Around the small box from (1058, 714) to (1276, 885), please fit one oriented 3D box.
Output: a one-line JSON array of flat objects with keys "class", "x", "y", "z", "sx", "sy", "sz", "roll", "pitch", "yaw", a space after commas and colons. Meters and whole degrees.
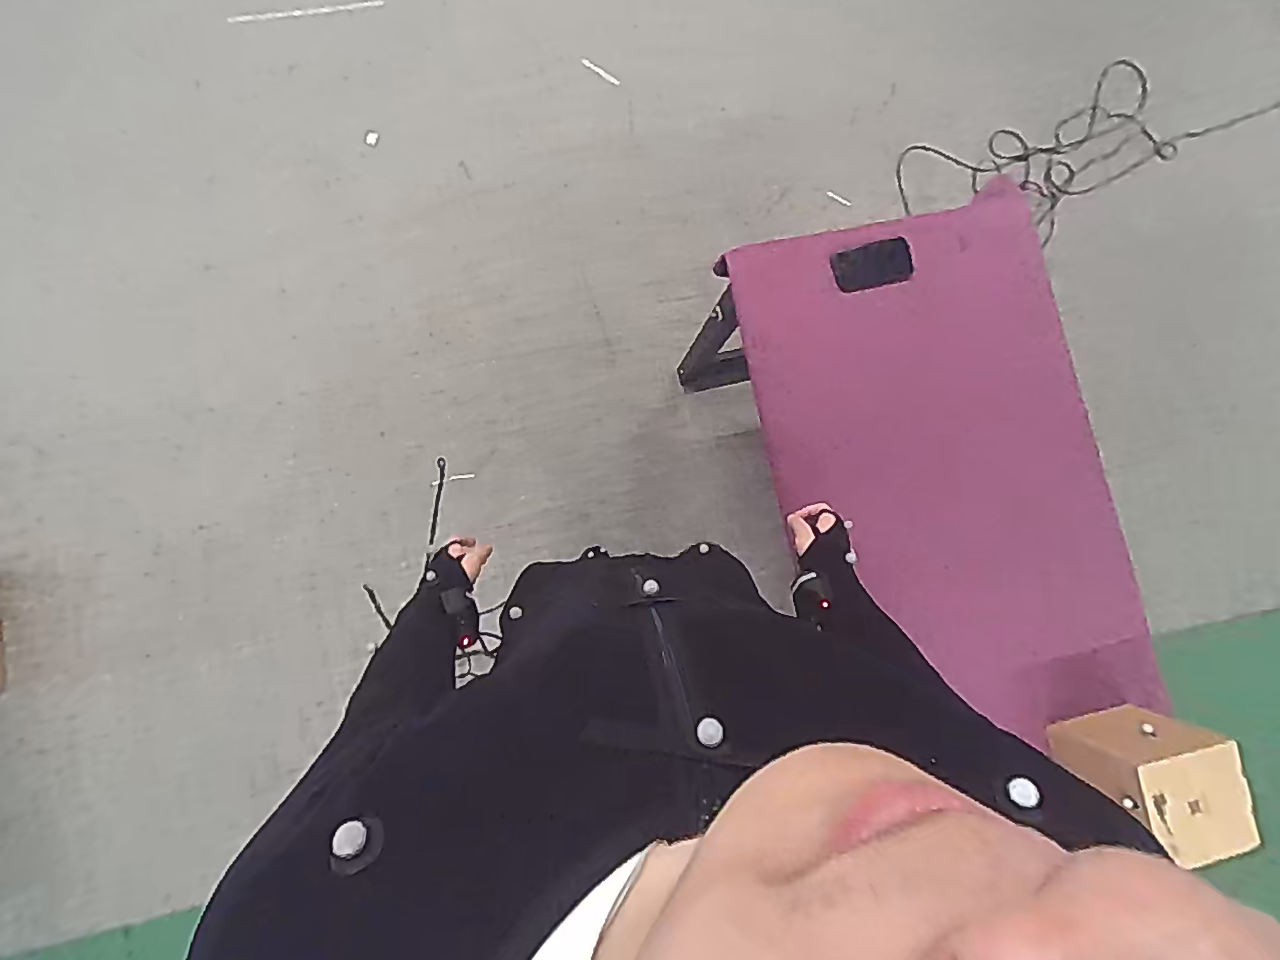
[{"class": "small box", "x": 0.842, "y": 0.503, "z": 0.881, "sx": 0.179, "sy": 0.176, "sz": 0.168, "roll": -11, "pitch": 85, "yaw": -6}]
